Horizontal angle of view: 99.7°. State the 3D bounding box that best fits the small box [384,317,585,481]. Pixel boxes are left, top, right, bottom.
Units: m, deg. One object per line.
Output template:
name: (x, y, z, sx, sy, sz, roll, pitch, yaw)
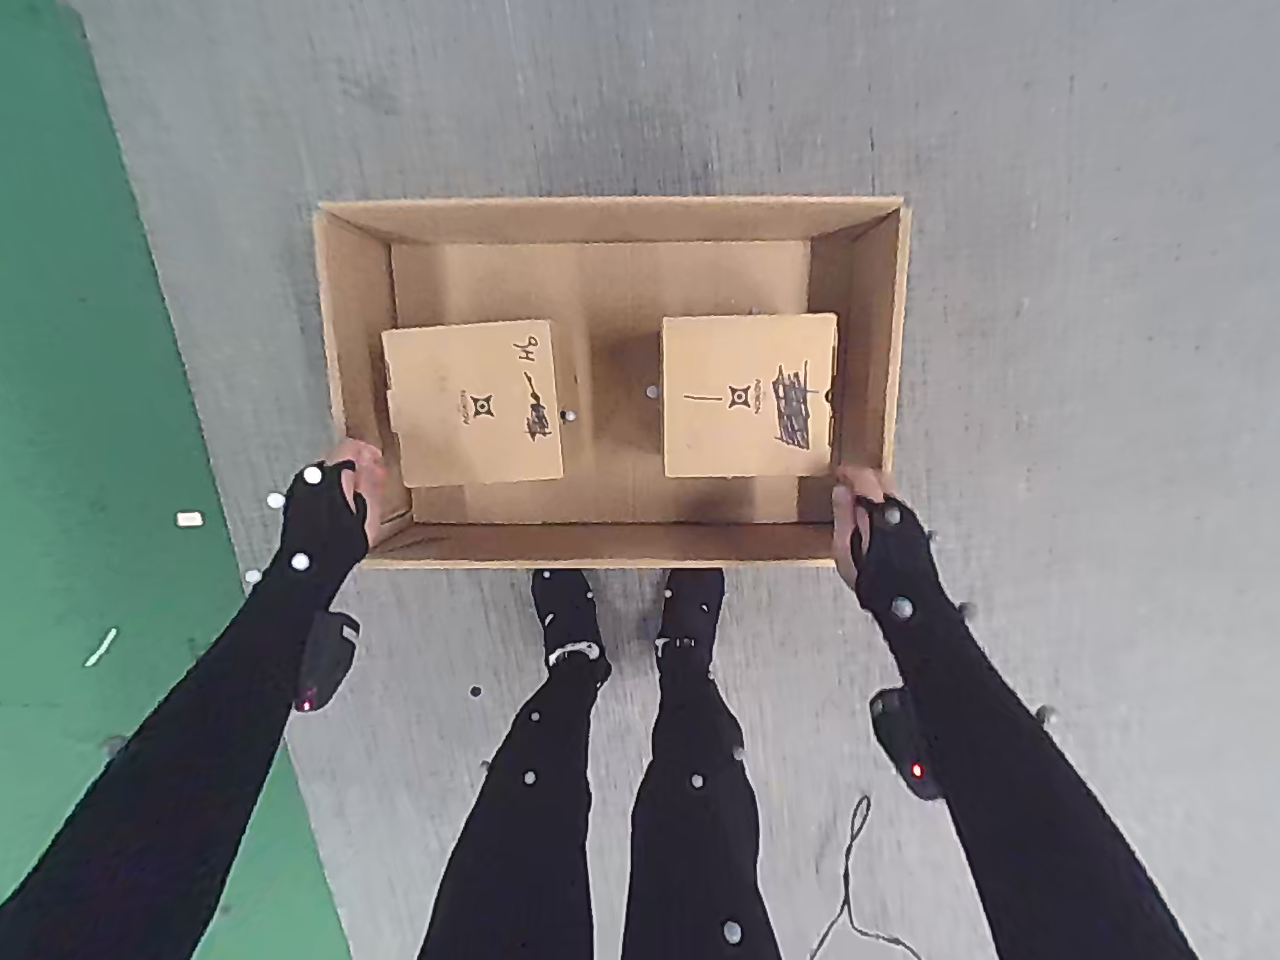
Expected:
small box: (-0.166, -0.094, 0.632, 0.179, 0.176, 0.168, -2, 100, 2)
